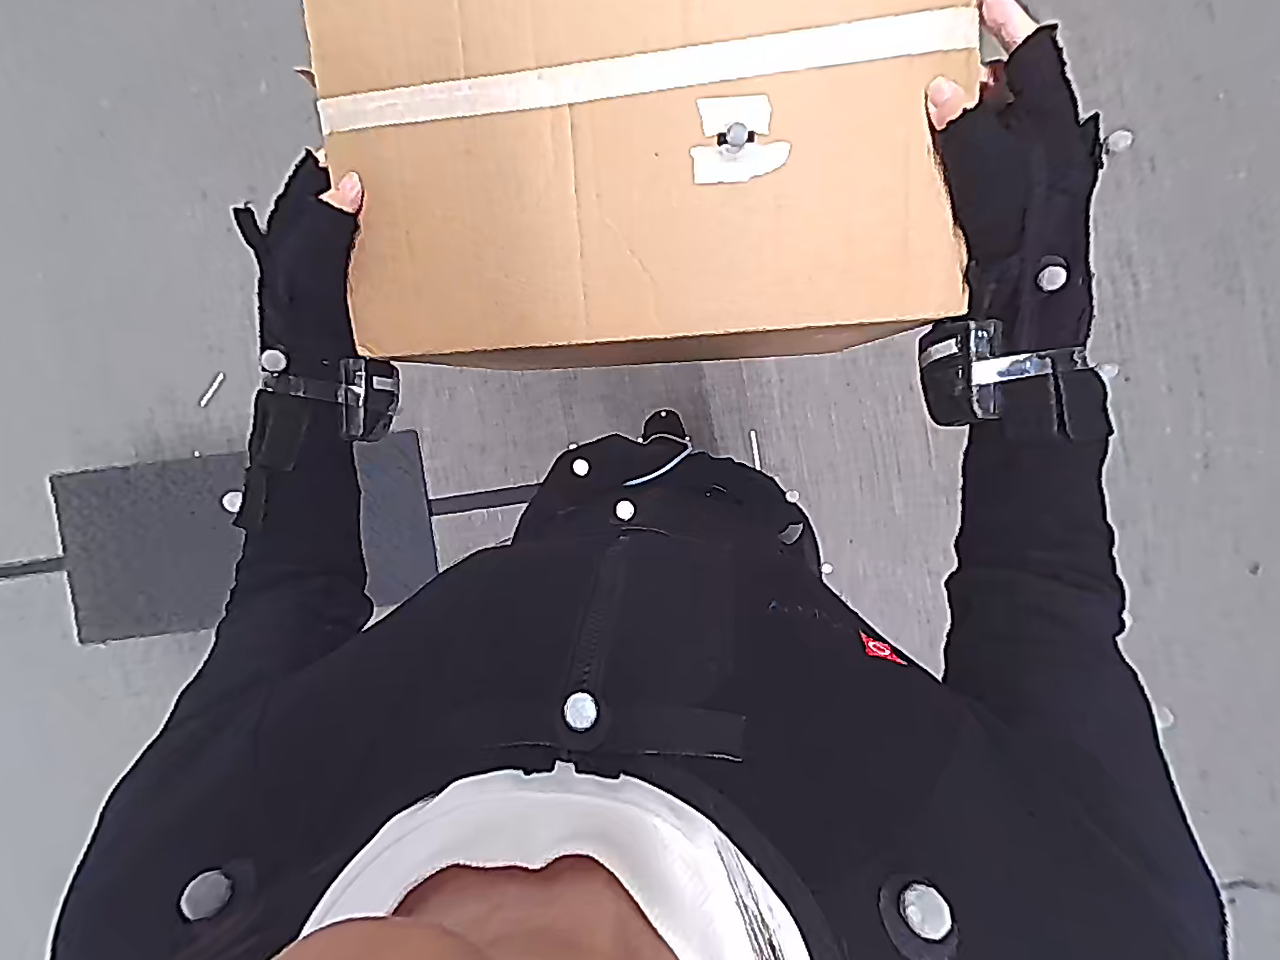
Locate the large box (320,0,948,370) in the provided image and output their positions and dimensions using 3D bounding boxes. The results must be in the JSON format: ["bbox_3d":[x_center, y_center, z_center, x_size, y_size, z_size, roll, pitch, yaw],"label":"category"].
[{"bbox_3d":[0.003,-0.280,0.495,0.408,0.320,0.320,-3,100,7],"label":"large box"}]

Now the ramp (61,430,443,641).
[{"bbox_3d":[-1.093,0.154,1.540,0.991,0.206,0.509,-8,92,8],"label":"ramp"}]
